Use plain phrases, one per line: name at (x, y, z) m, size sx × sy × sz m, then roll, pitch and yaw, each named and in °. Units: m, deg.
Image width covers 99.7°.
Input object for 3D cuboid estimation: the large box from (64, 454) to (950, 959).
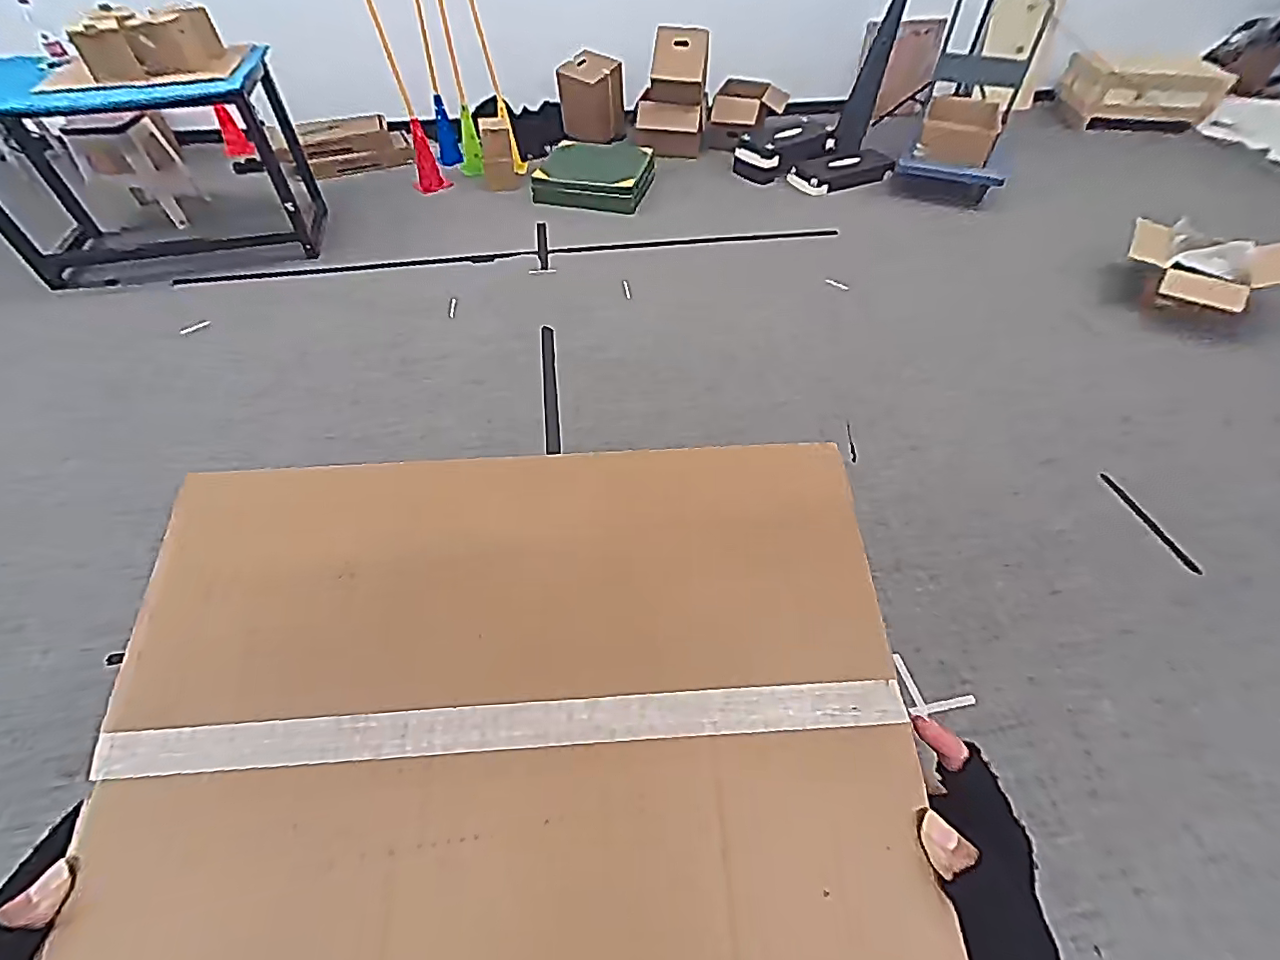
large box at (-0.066, 0.196, 0.419) m, size 0.408 × 0.320 × 0.320 m, roll -3°, pitch 65°, yaw -2°
